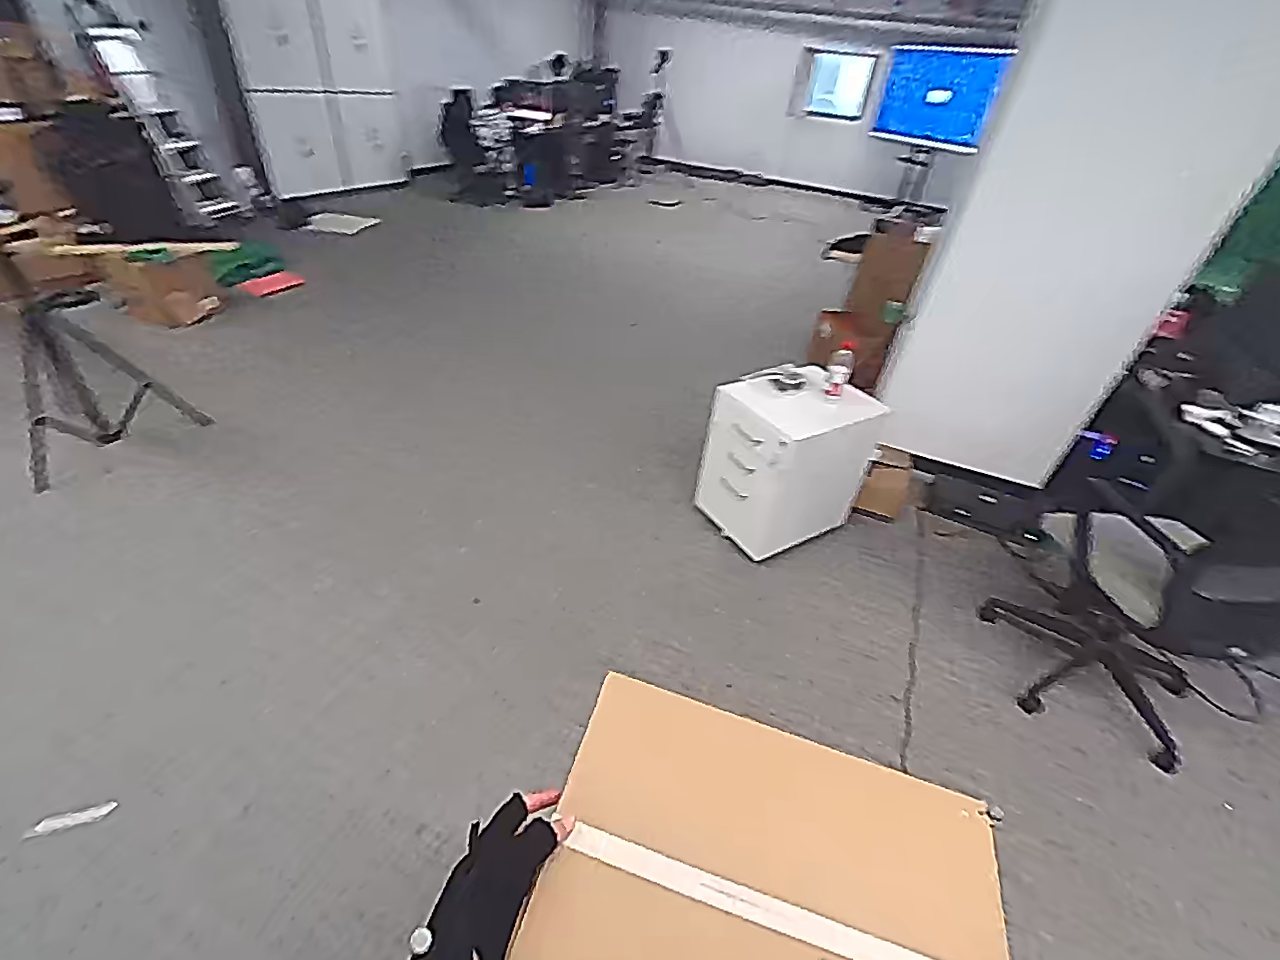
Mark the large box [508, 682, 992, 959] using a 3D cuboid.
[{"bbox_3d":[0.092,0.481,0.584,0.408,0.320,0.320,16,46,8],"label":"large box"}]
